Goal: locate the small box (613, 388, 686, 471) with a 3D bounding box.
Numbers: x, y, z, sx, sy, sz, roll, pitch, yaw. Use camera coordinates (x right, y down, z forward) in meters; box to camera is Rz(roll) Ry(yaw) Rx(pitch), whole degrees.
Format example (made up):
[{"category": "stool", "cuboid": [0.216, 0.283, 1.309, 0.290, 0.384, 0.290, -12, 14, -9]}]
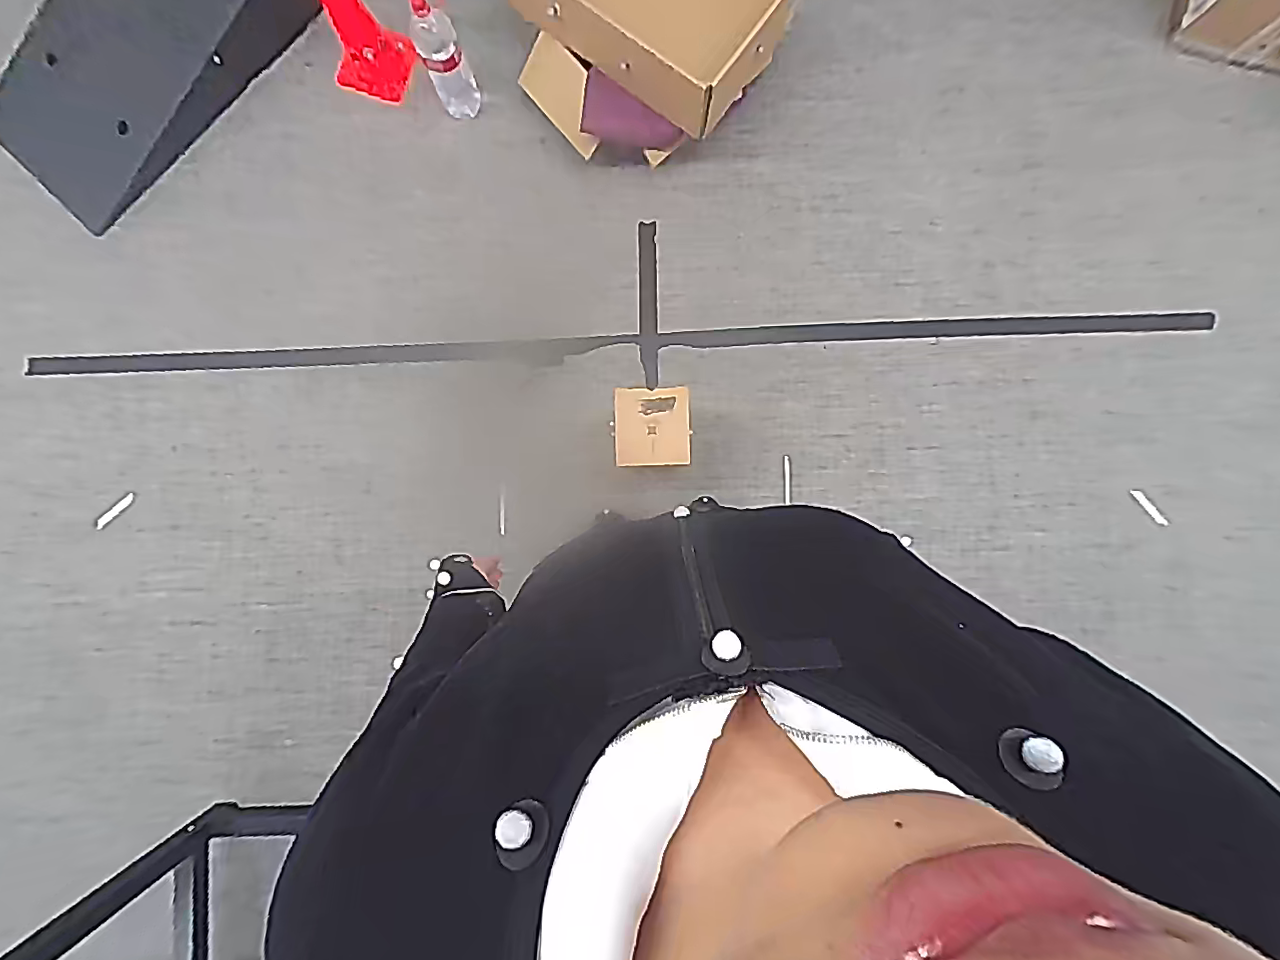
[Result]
[{"category": "small box", "cuboid": [0.019, -0.114, 1.273, 0.168, 0.176, 0.179, -1, 89, 0]}]
